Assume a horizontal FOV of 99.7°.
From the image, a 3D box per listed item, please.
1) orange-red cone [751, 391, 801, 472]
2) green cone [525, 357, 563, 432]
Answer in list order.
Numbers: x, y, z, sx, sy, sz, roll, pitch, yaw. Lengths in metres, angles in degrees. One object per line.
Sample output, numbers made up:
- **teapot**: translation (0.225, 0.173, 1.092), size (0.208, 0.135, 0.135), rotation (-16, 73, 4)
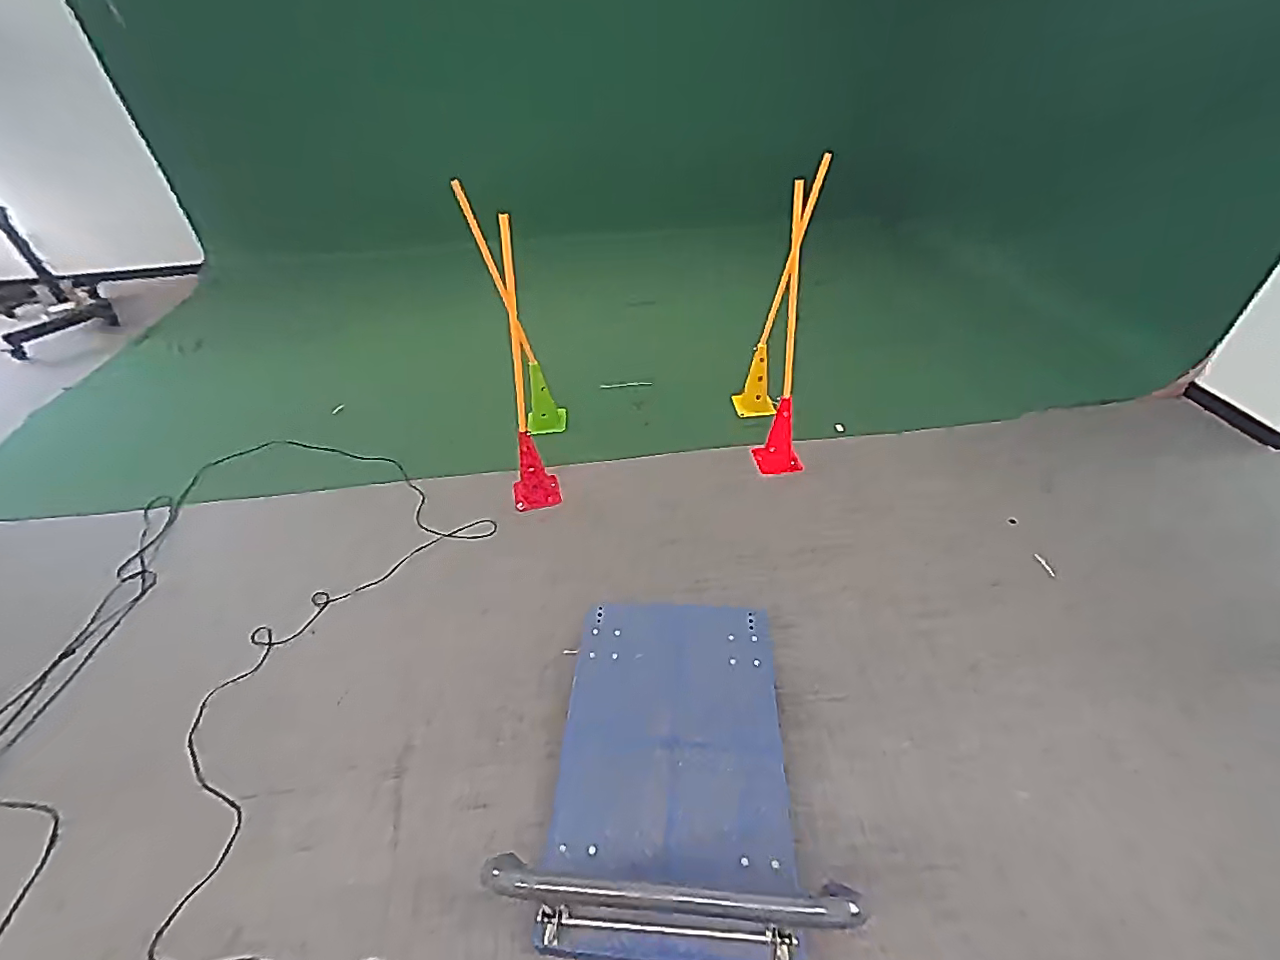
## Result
- **orange-red cone**: translation (0.625, -0.234, 2.409), size (0.198, 0.360, 0.199), rotation (-5, 40, -4)
- **green cone**: translation (-0.508, -0.444, 2.705), size (0.200, 0.368, 0.202), rotation (-7, 41, -3)
